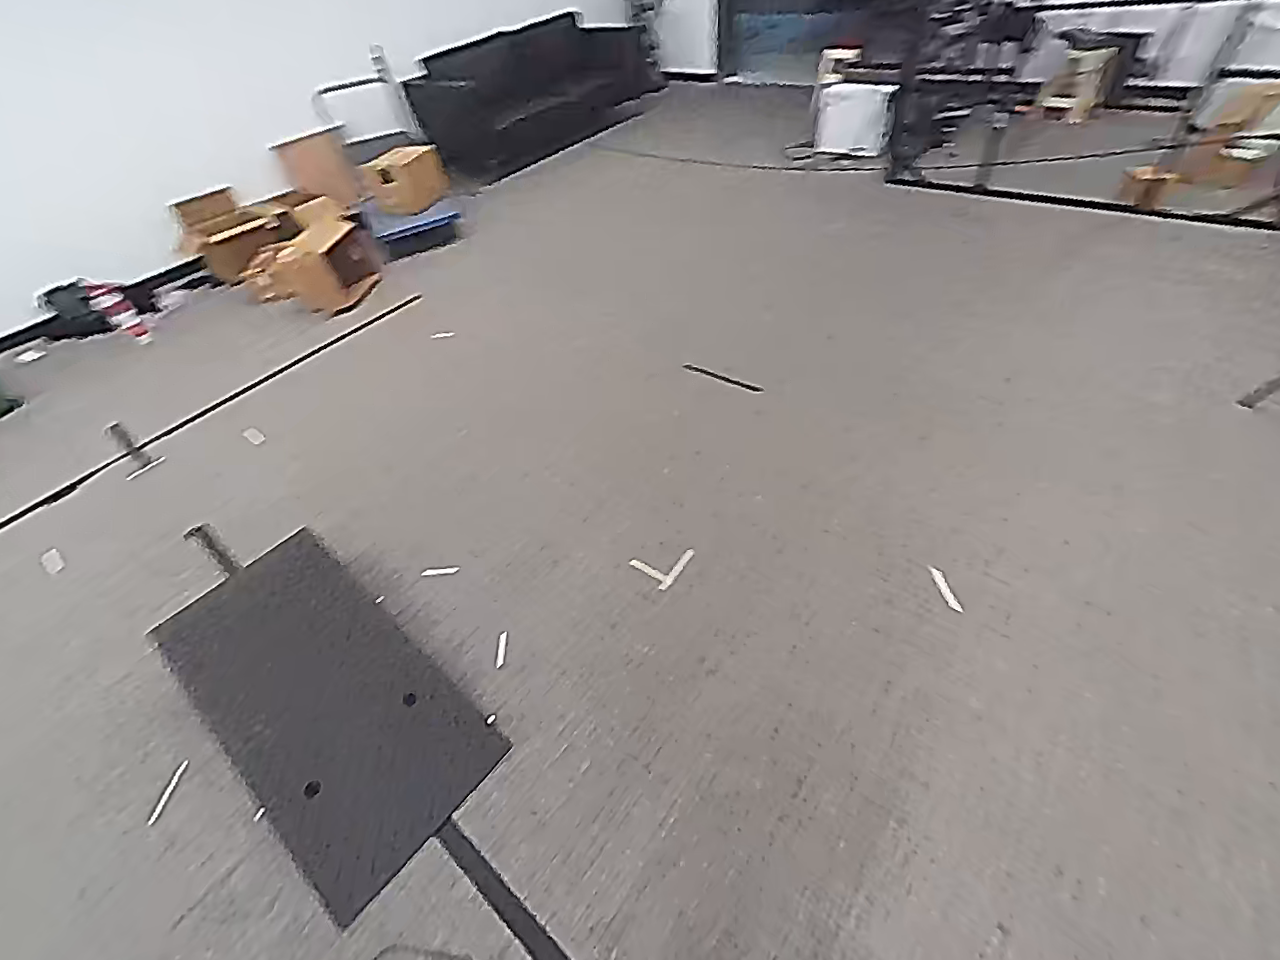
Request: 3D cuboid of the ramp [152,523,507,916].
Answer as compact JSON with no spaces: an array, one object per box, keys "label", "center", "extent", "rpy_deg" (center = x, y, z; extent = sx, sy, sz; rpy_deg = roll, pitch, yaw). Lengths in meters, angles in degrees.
[{"label":"ramp","center":[-0.869,0.554,1.485],"extent":[0.991,0.206,0.509],"rpy_deg":[29,56,29]}]
